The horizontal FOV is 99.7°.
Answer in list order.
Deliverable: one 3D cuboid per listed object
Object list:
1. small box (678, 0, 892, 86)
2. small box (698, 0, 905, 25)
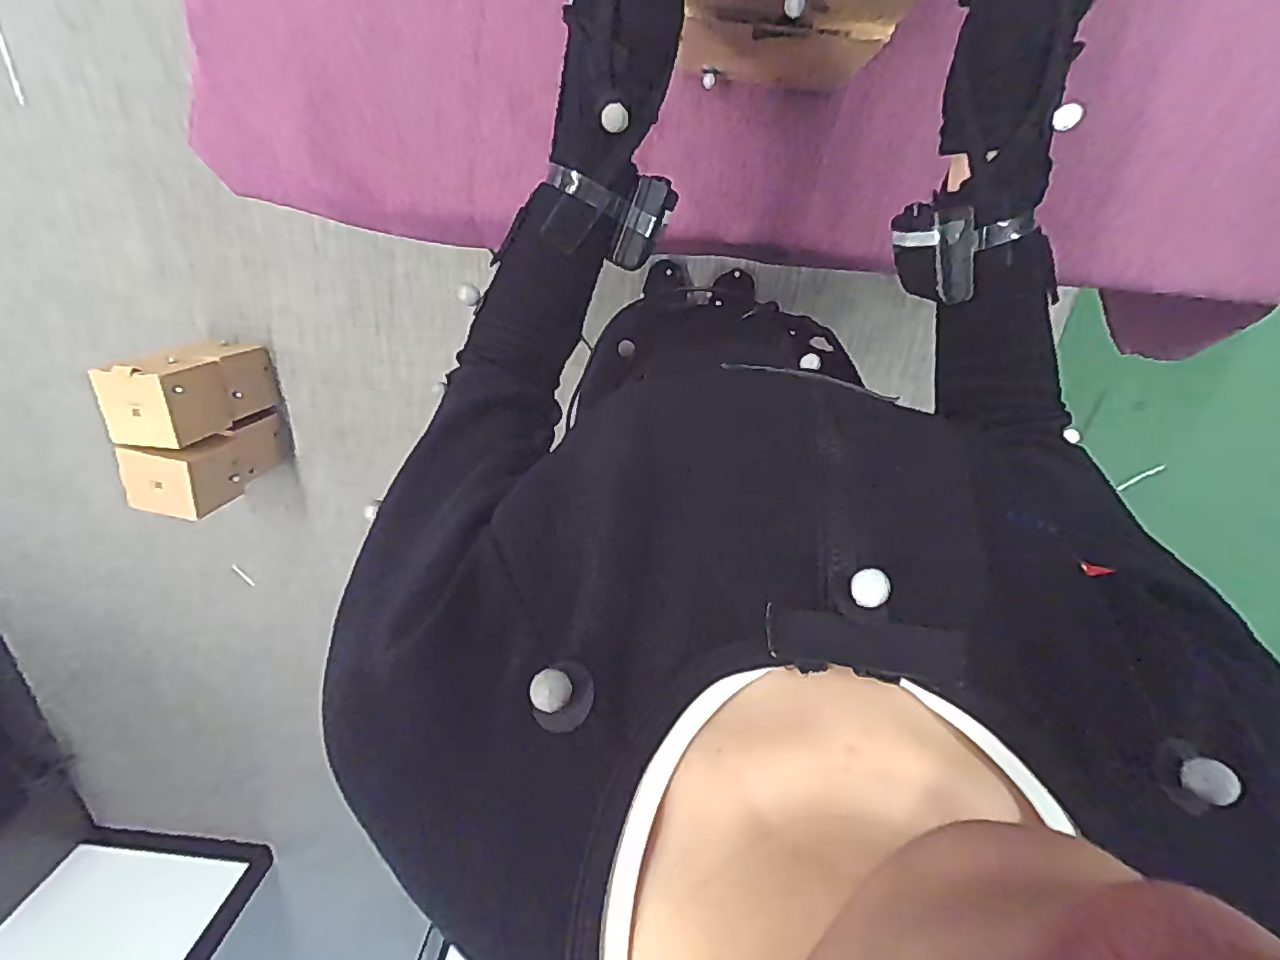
[{"bbox_3d":[0.128,-0.462,0.457,0.168,0.176,0.179,8,113,1],"label":"small box"},{"bbox_3d":[0.113,-0.403,0.304,0.168,0.176,0.179,8,115,1],"label":"small box"}]
